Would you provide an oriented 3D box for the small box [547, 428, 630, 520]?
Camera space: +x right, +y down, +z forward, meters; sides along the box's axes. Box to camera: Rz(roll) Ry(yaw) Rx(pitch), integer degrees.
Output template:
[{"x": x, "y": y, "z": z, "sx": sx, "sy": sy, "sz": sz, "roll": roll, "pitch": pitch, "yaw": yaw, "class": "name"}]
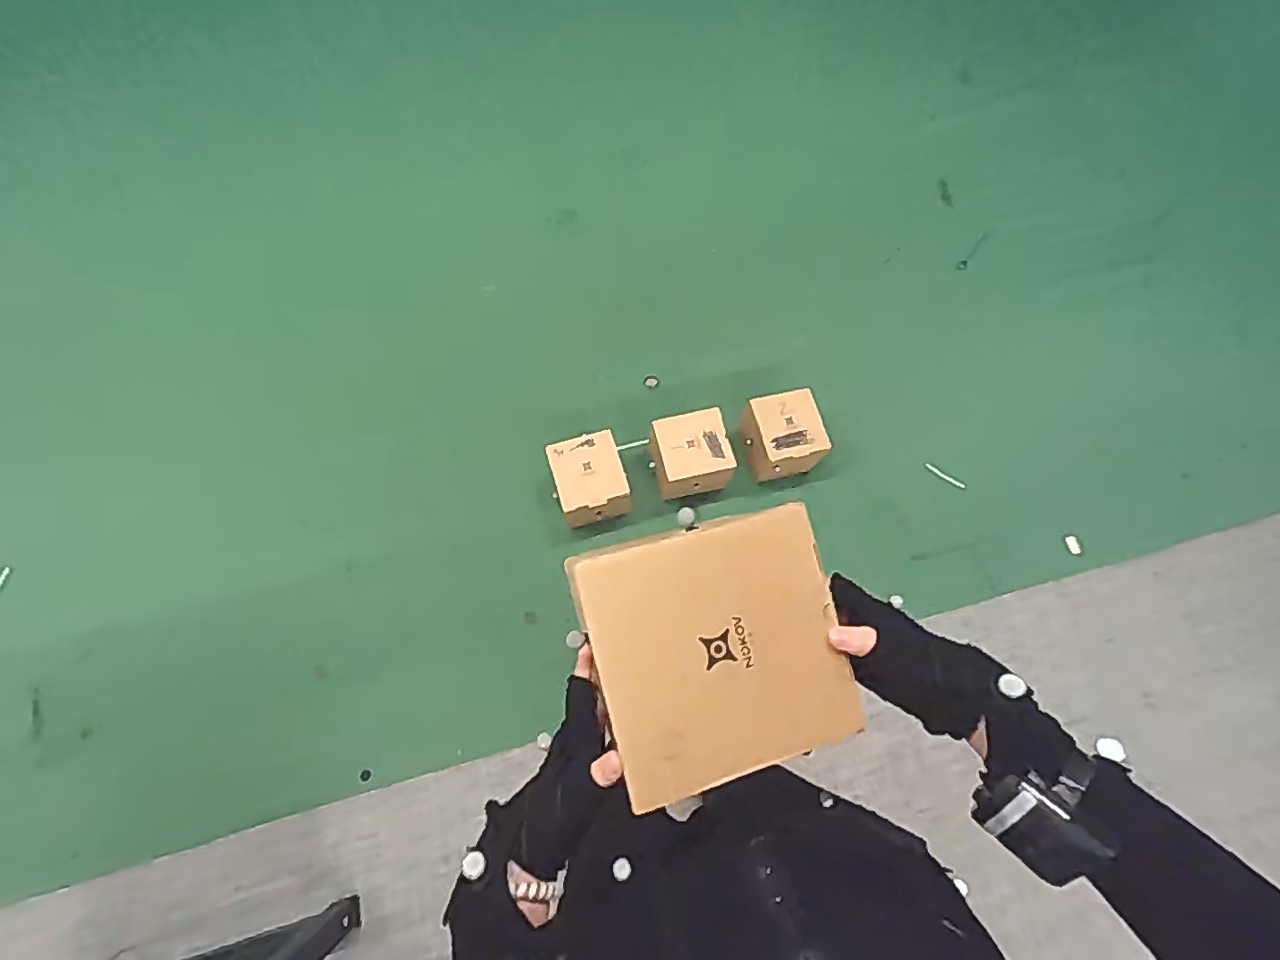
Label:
[{"x": -0.125, "y": -0.006, "z": 1.355, "sx": 0.168, "sy": 0.176, "sz": 0.179, "roll": -15, "pitch": 75, "yaw": -8, "class": "small box"}]
